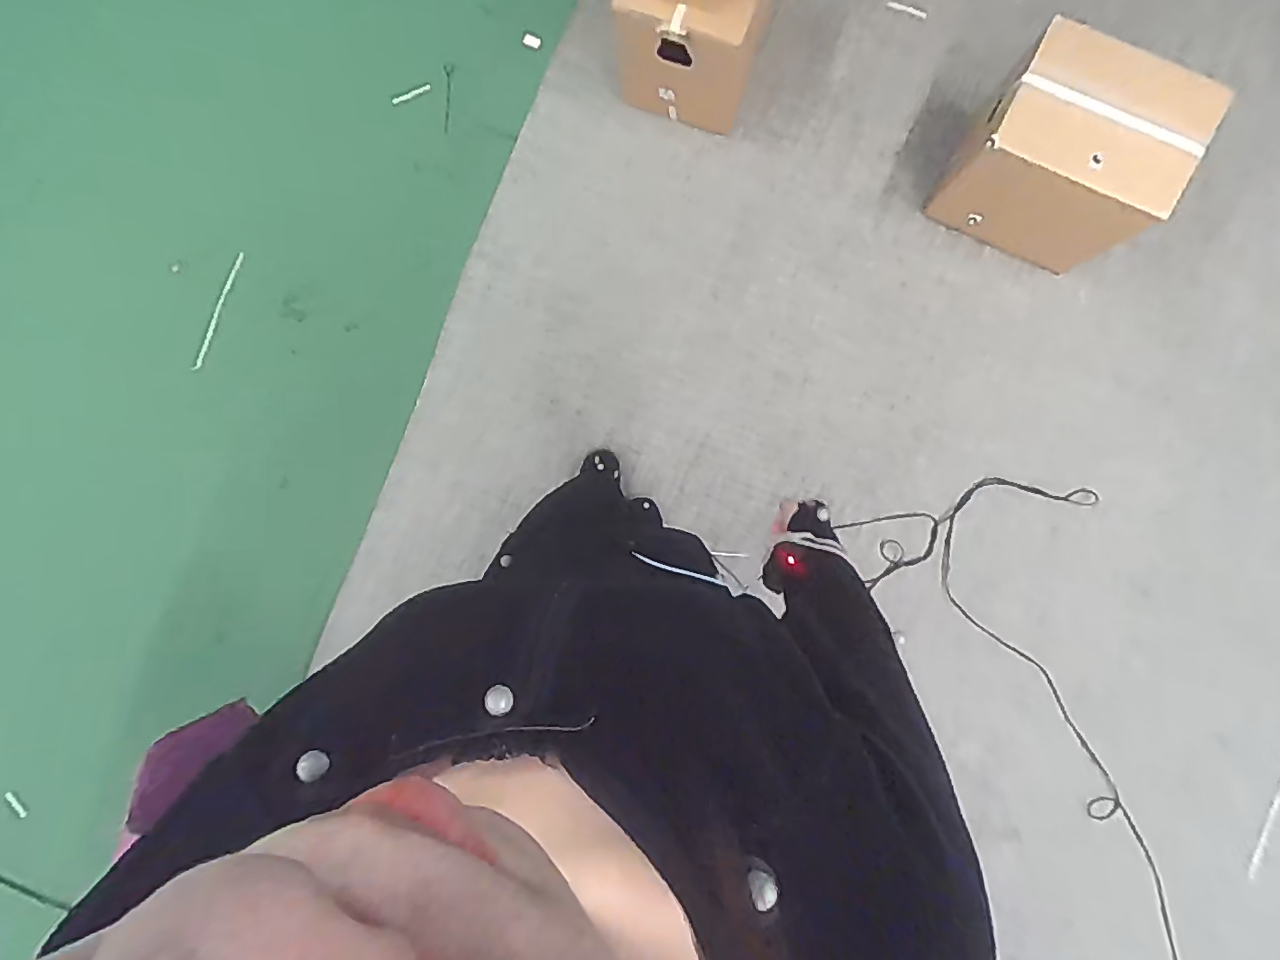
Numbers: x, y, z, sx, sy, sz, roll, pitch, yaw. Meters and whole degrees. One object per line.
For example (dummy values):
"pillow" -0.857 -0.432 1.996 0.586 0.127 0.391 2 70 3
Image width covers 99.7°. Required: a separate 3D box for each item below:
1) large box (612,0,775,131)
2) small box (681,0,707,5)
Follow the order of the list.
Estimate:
"large box" 0.154 -1.195 1.355 0.320 0.320 0.408 21 90 3
"small box" 0.099 -1.140 1.113 0.179 0.176 0.168 20 89 4
